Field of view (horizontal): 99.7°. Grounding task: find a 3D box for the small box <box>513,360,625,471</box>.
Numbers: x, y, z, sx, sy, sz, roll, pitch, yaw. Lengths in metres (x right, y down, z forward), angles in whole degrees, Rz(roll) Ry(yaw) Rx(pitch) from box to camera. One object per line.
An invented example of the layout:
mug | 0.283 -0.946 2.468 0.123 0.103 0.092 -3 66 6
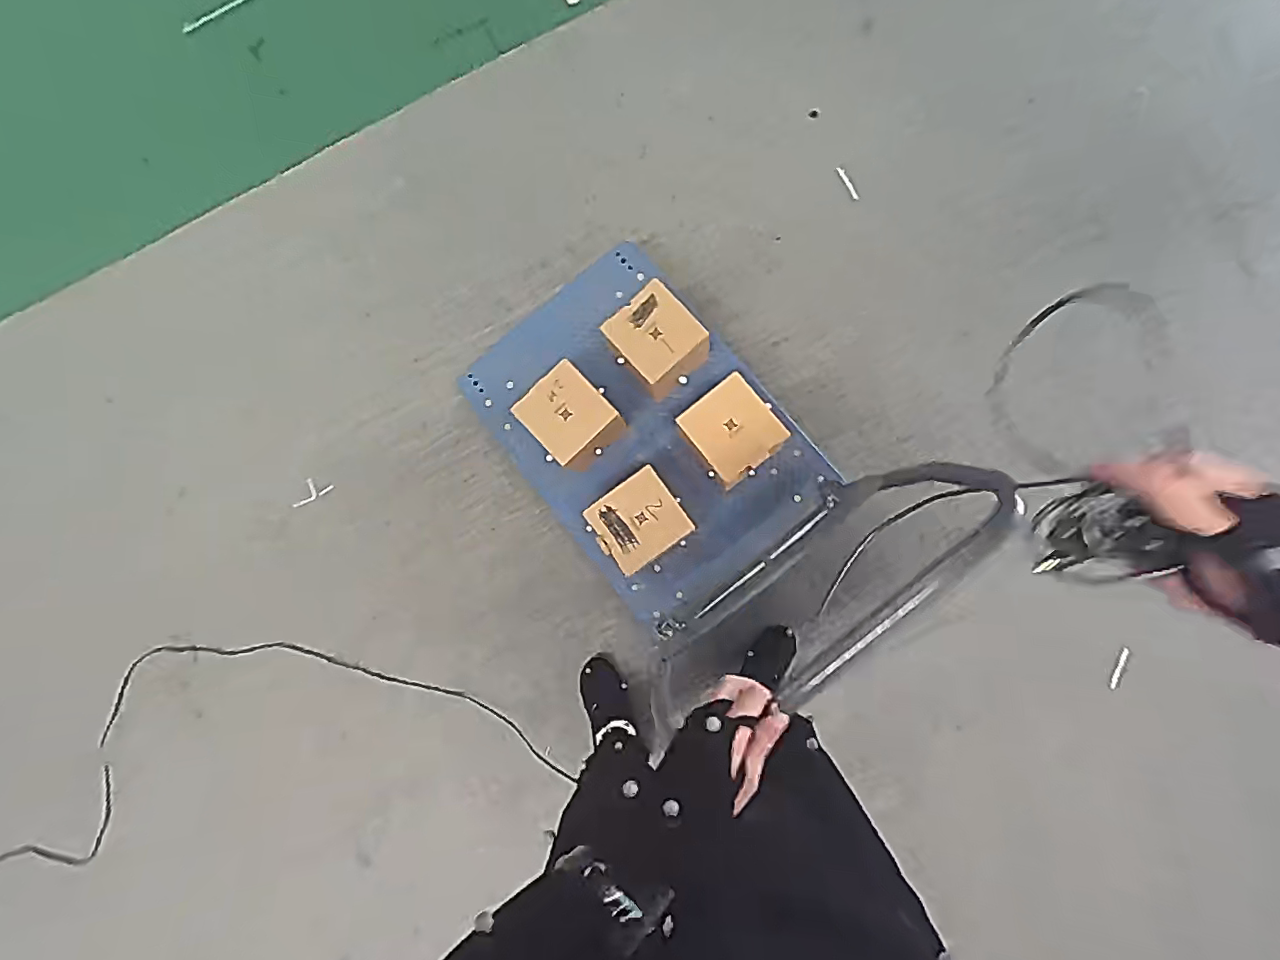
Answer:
small box | -0.151 -0.135 1.228 0.168 0.176 0.179 -43 81 -1

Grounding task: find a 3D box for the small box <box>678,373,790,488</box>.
small box | 0.199 -0.099 1.188 0.168 0.176 0.179 -38 82 1

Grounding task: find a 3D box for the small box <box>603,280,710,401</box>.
small box | 0.041 -0.307 1.227 0.168 0.176 0.179 -41 81 1
